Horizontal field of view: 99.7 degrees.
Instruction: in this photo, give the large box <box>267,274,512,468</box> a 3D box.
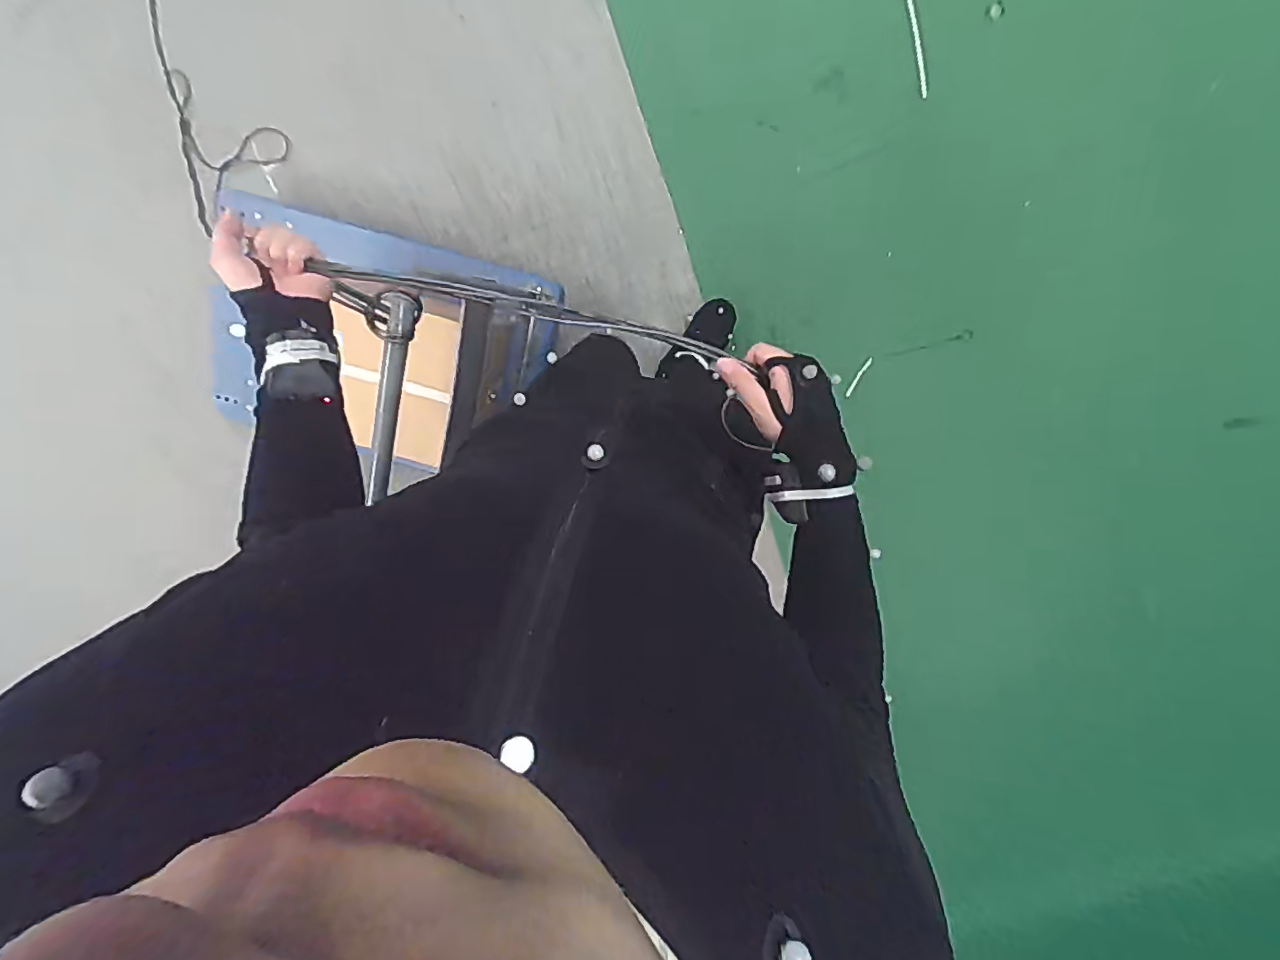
[{"bbox_3d":[-0.552,-0.258,1.246,0.408,0.320,0.320,16,107,0],"label":"large box"}]
